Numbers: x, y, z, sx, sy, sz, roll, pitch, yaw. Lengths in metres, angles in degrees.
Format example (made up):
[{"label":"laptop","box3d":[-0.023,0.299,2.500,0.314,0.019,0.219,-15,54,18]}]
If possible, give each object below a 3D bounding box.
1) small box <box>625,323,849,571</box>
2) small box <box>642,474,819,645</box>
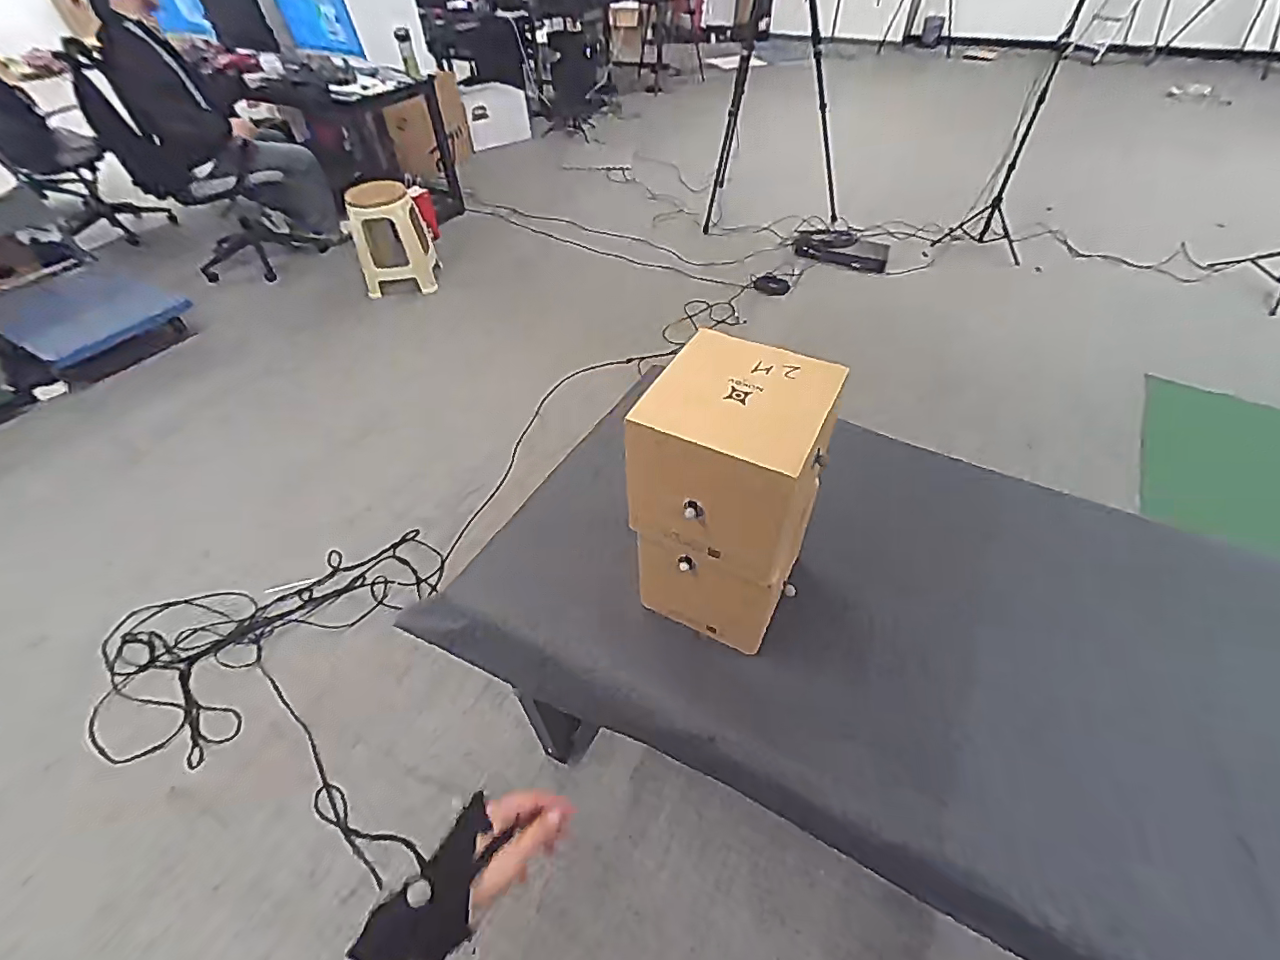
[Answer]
[{"label":"small box","box3d":[0.099,-0.034,0.577,0.168,0.176,0.179,22,51,19]},{"label":"small box","box3d":[0.110,0.077,0.700,0.168,0.176,0.179,21,50,19]}]
